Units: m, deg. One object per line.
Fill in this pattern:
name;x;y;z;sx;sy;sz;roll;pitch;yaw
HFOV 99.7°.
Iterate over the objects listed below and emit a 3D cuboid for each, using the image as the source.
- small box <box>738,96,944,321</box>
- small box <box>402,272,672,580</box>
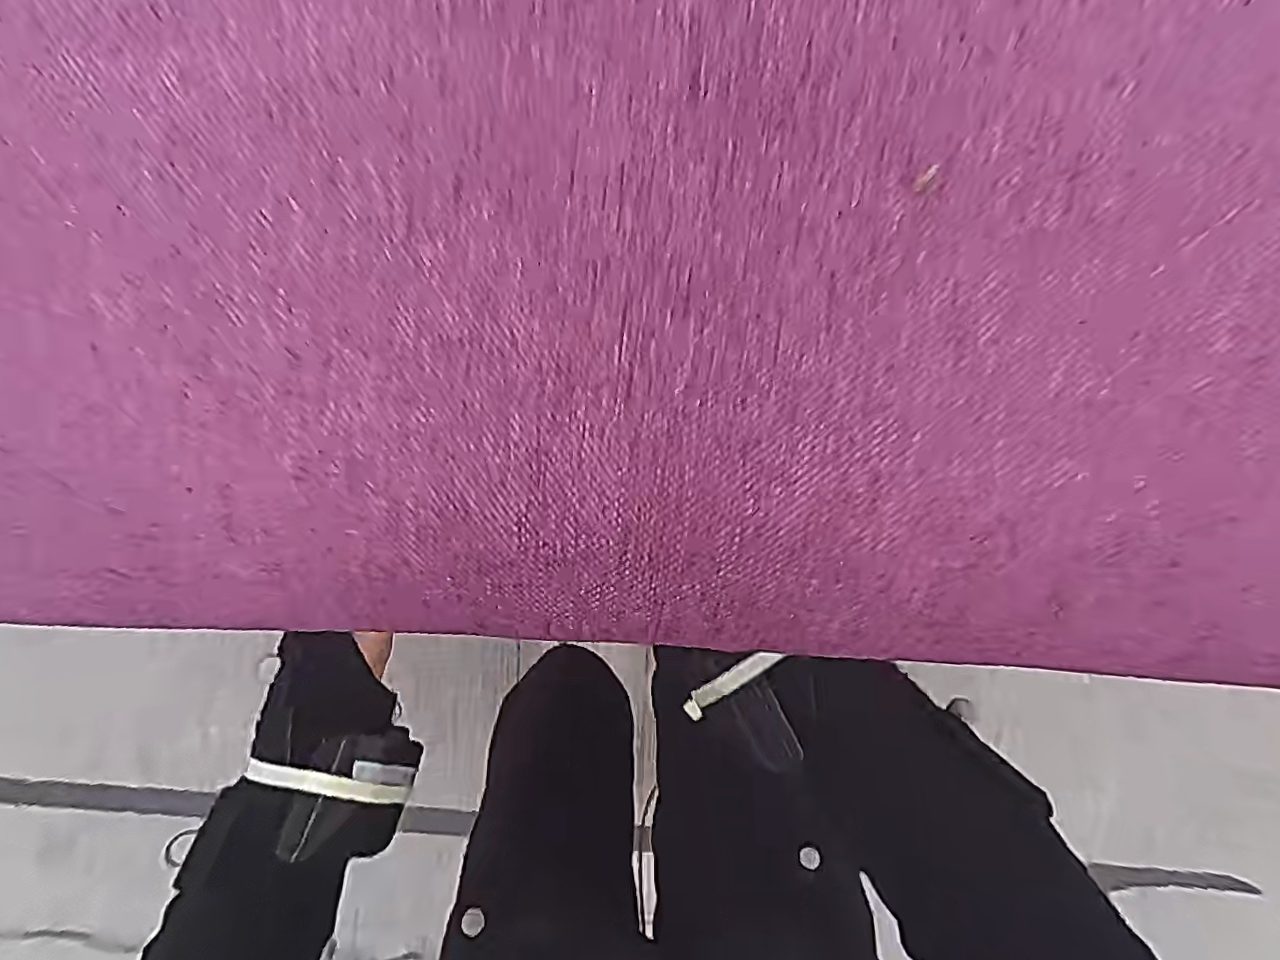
small box;0.205;-0.284;0.599;0.168;0.176;0.179;2;97;2
small box;-0.071;-0.037;0.452;0.168;0.176;0.179;-11;58;3
